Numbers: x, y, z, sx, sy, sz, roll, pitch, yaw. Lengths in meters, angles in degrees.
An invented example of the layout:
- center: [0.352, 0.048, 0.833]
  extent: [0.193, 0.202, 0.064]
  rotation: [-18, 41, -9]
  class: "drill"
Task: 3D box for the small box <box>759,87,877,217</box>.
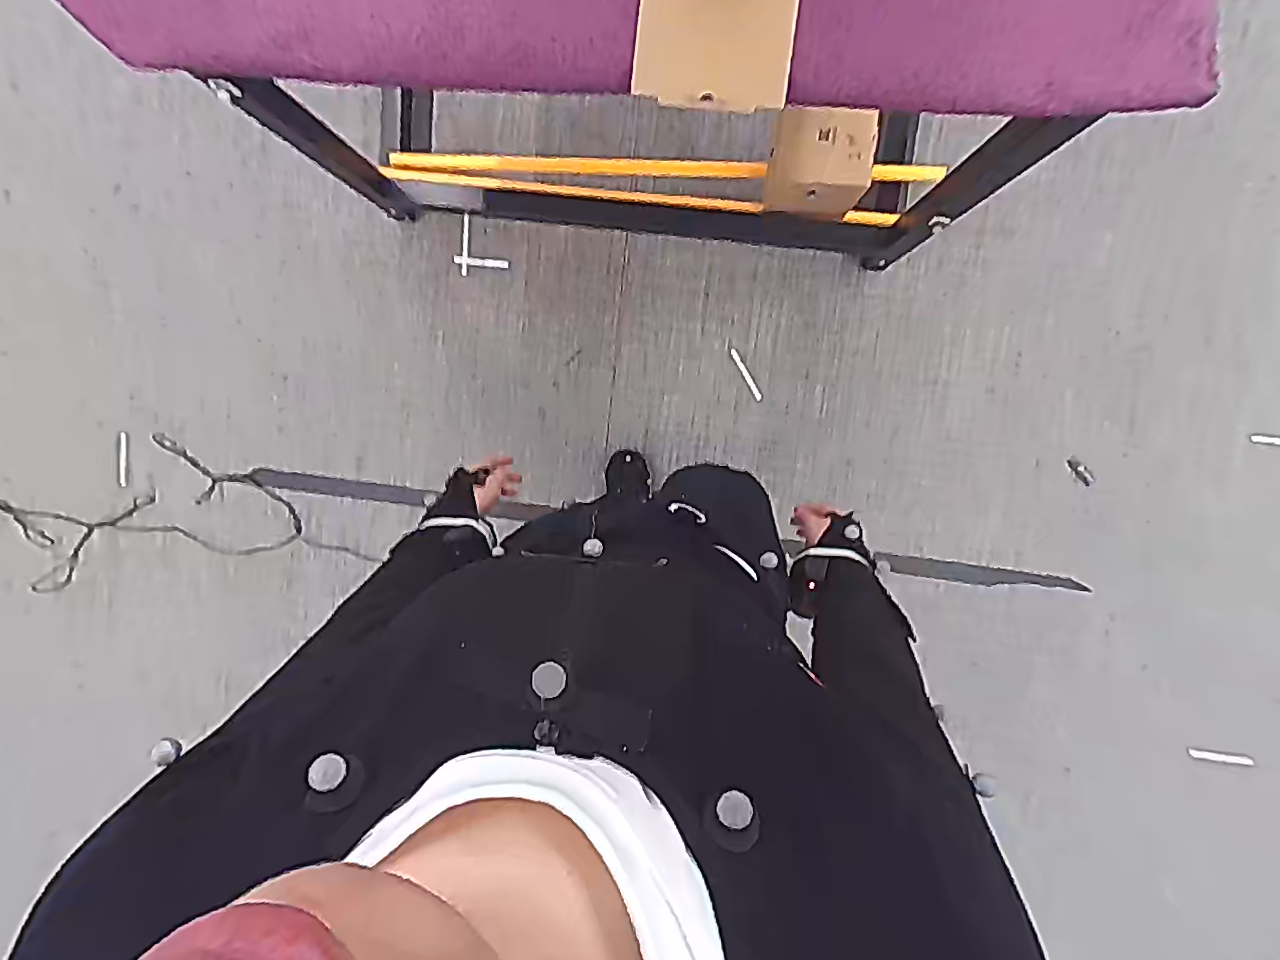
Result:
- center: [0.340, -0.638, 1.070]
  extent: [0.179, 0.176, 0.168]
  rotation: [6, 98, 3]
  class: "small box"
